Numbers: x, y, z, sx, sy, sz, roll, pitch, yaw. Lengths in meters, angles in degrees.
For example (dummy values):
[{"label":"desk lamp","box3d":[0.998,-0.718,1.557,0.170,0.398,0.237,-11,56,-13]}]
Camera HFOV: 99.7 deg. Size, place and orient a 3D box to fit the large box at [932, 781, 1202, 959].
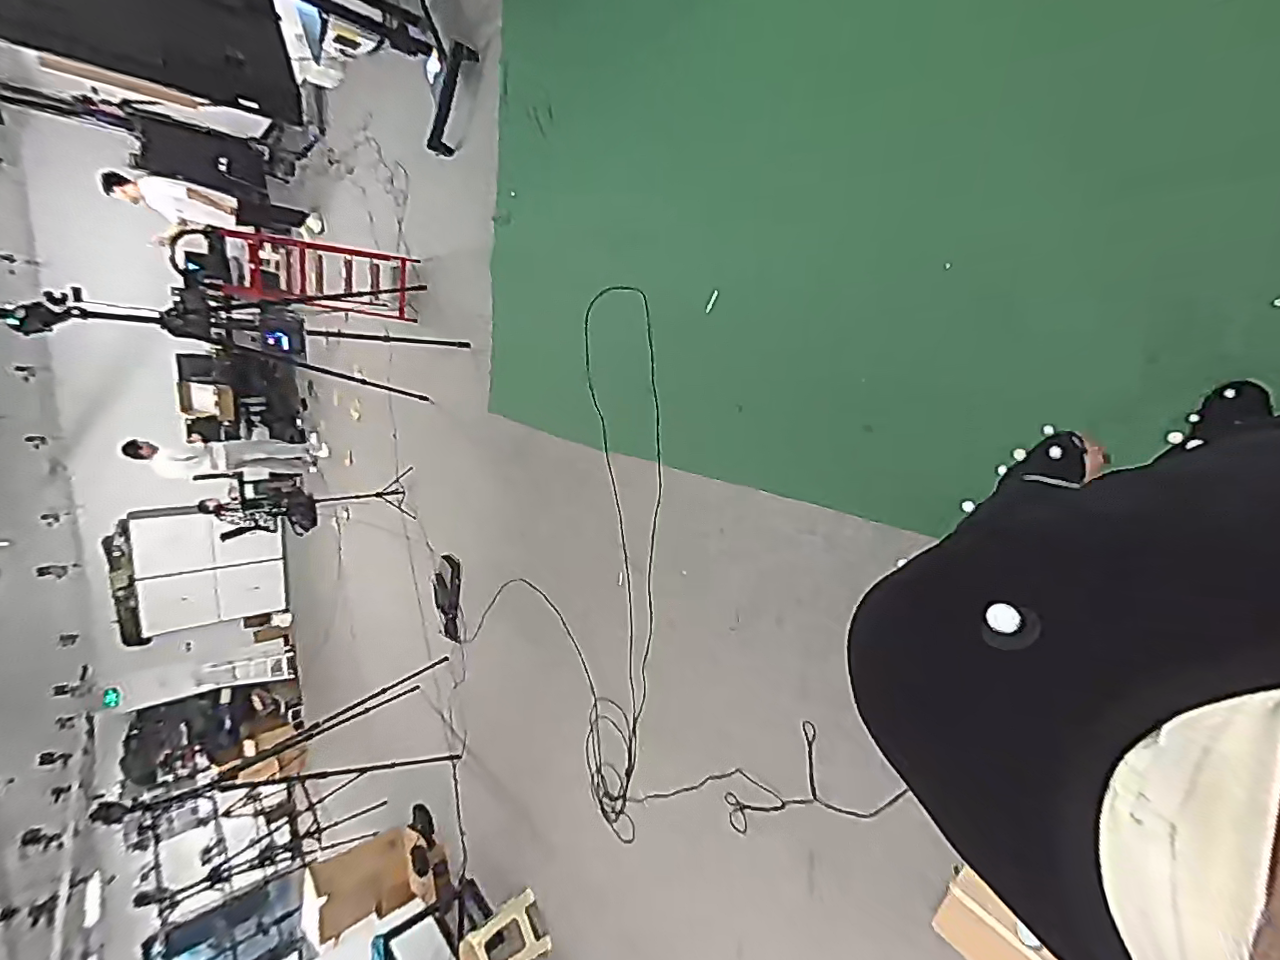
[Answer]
[{"label":"large box","box3d":[1.009,1.040,1.303,0.408,0.320,0.320,30,116,40]}]
